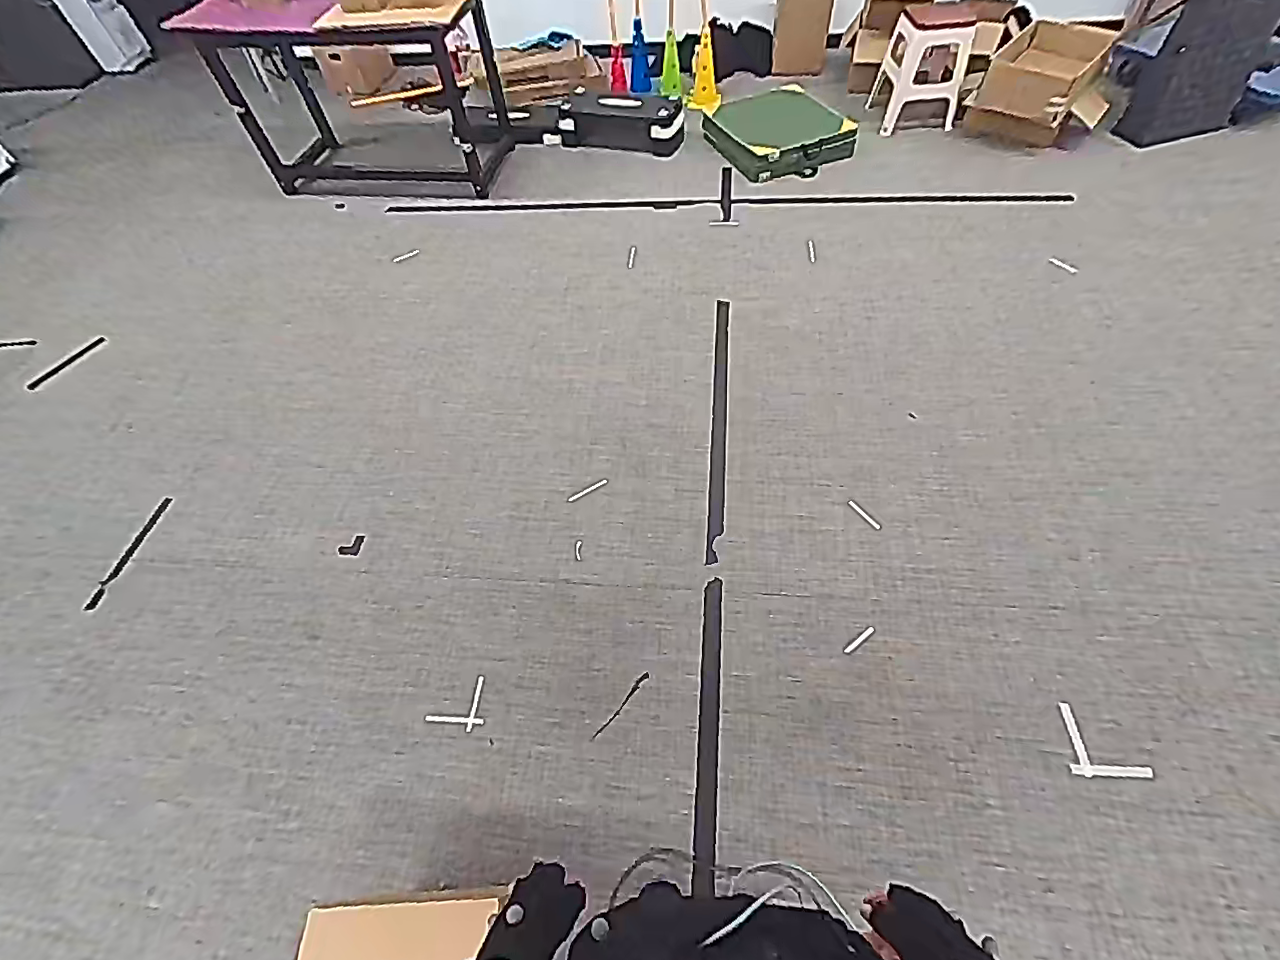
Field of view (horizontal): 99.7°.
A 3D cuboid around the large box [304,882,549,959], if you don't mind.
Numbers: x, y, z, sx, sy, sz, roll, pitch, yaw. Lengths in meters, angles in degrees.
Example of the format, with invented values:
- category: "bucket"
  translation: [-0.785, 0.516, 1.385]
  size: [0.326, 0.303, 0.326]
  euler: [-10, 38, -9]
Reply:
- category: "large box"
  translation: [-0.357, 0.919, 0.947]
  size: [0.320, 0.408, 0.320]
  euler: [-3, 56, 2]
